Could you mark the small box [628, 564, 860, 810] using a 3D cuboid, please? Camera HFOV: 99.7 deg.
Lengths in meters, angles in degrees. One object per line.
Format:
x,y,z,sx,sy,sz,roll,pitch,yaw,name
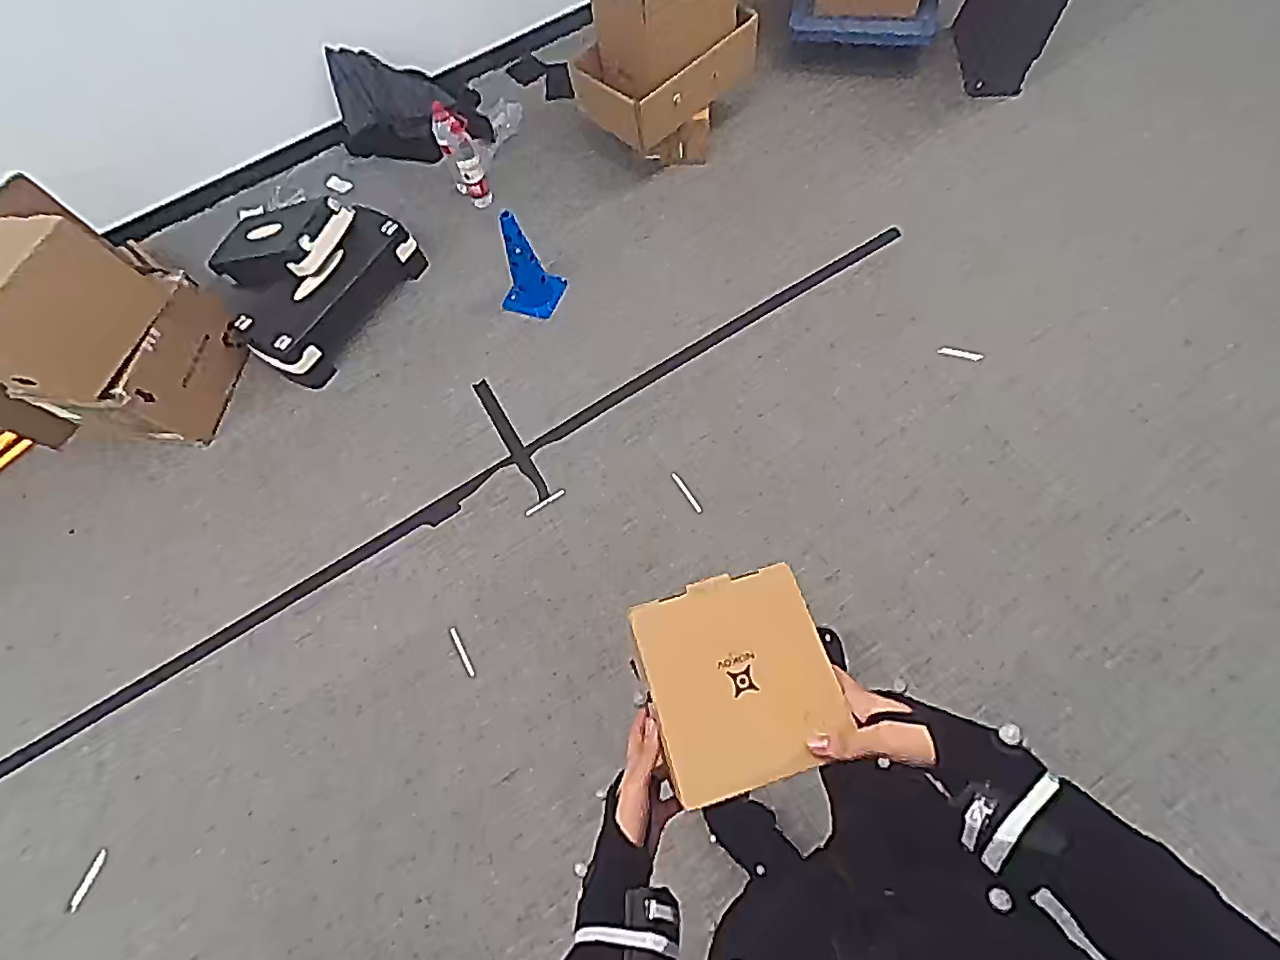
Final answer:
0.090,0.210,0.560,0.168,0.176,0.179,-15,65,-7,small box
